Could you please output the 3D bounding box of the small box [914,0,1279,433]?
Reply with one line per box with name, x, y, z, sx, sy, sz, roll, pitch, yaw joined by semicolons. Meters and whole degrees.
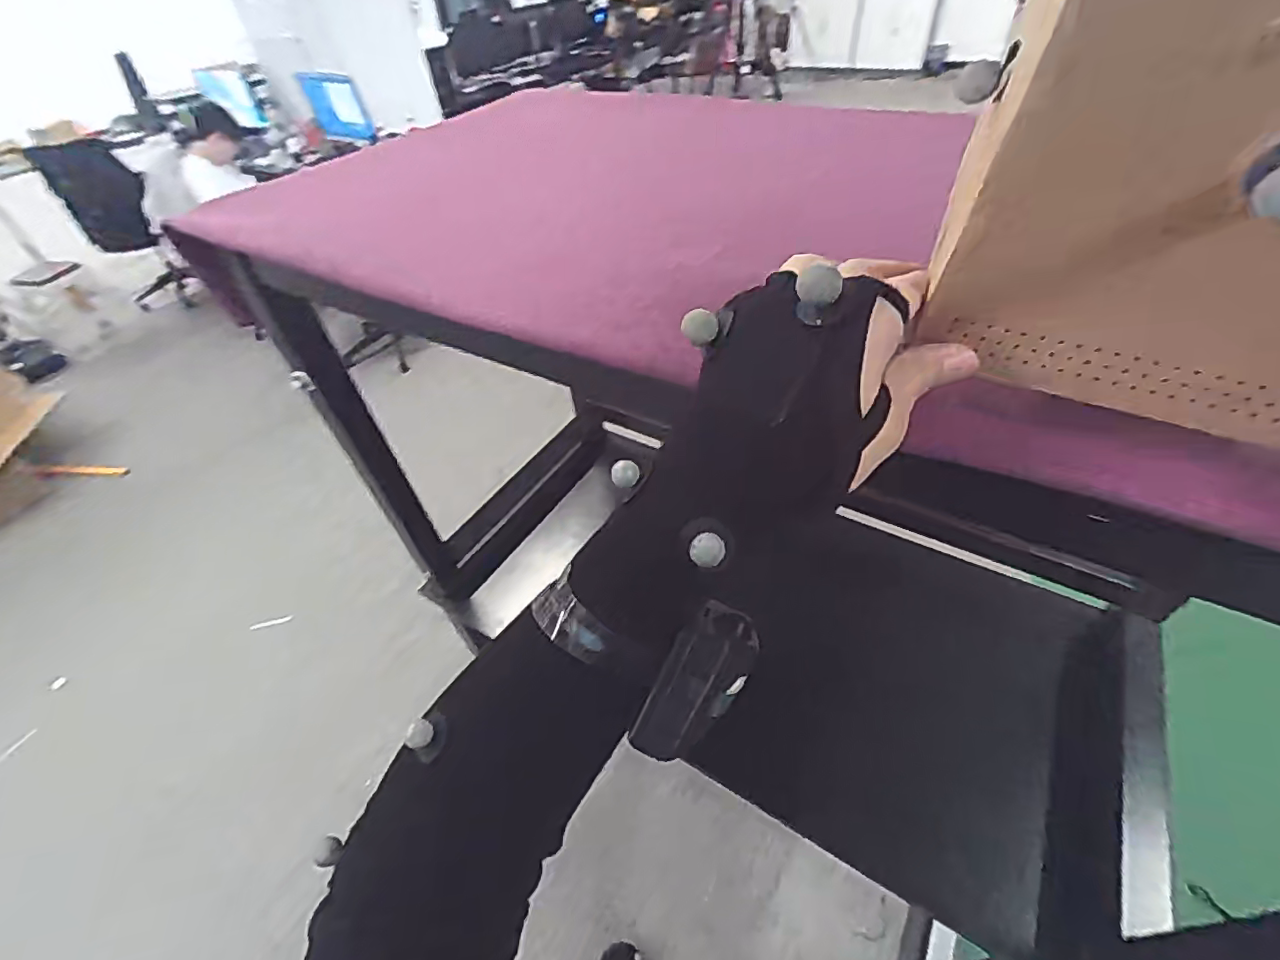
small box;0.218;-0.137;0.185;0.179;0.176;0.168;18;66;18
